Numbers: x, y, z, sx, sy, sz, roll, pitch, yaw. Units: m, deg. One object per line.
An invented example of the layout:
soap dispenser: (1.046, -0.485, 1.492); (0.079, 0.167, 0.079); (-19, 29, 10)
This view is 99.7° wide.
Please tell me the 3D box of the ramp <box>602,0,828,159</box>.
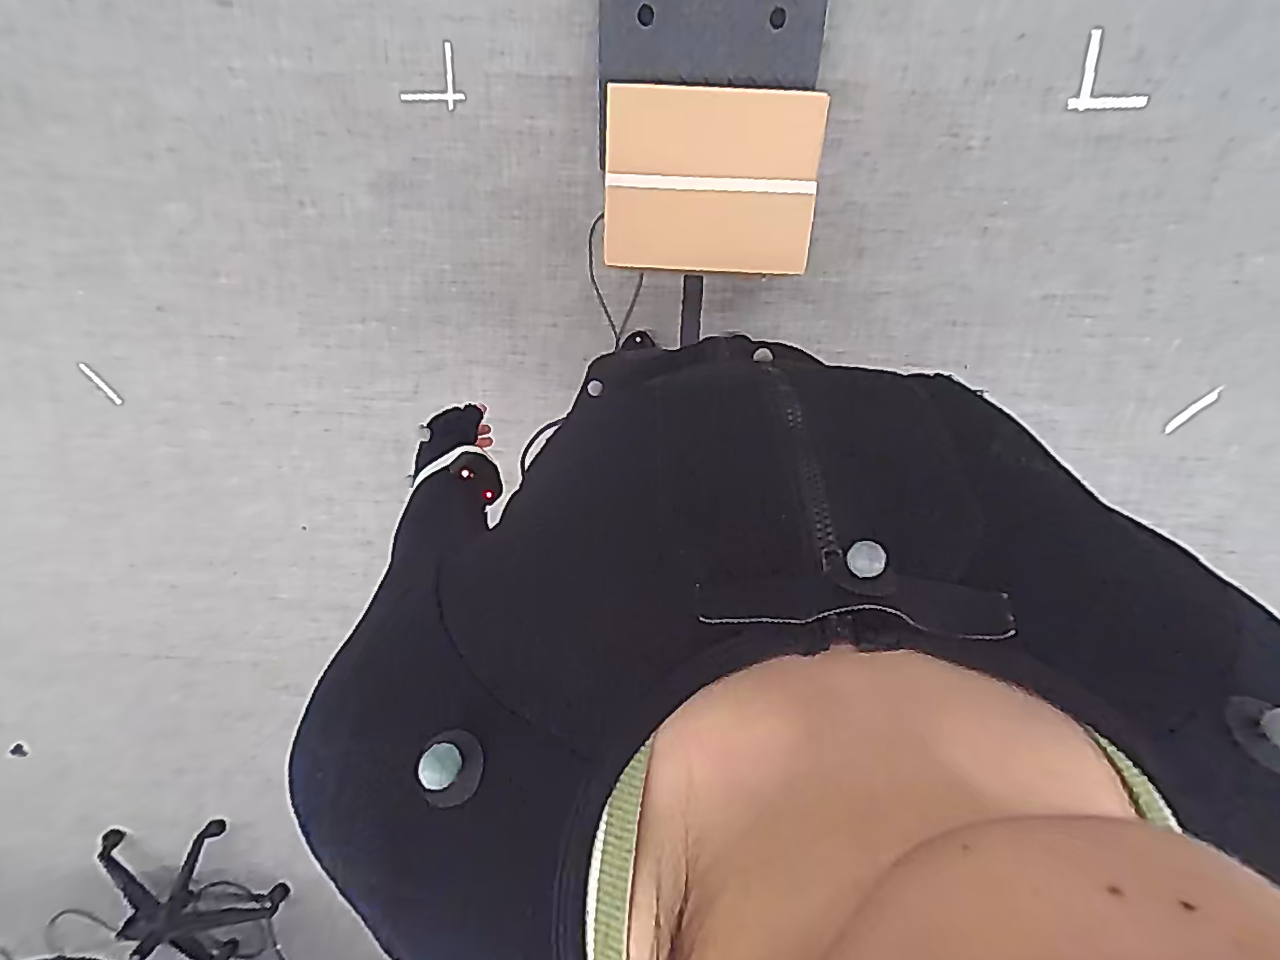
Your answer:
ramp: (0.166, -1.210, 1.082); (0.509, 0.206, 0.991); (1, 106, 1)

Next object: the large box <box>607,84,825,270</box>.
large box: (0.144, -0.628, 1.179); (0.408, 0.320, 0.320); (3, 109, 1)
